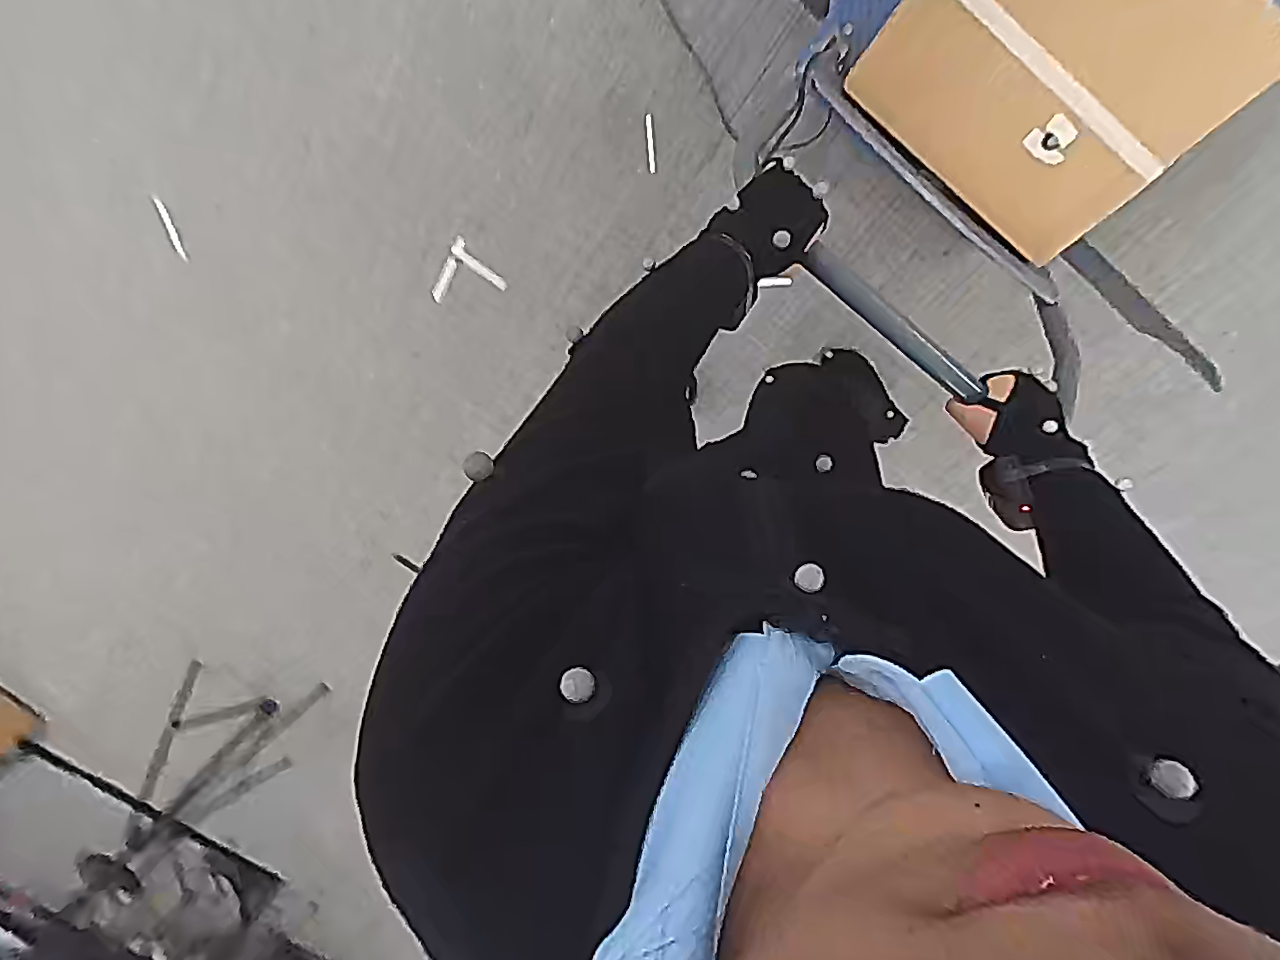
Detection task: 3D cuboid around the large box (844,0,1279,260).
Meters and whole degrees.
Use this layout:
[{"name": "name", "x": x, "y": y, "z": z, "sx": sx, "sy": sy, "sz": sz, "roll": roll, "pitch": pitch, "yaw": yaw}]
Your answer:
[{"name": "large box", "x": 0.570, "y": -0.621, "z": 0.809, "sx": 0.408, "sy": 0.320, "sz": 0.320, "roll": 36, "pitch": 134, "yaw": -8}]
